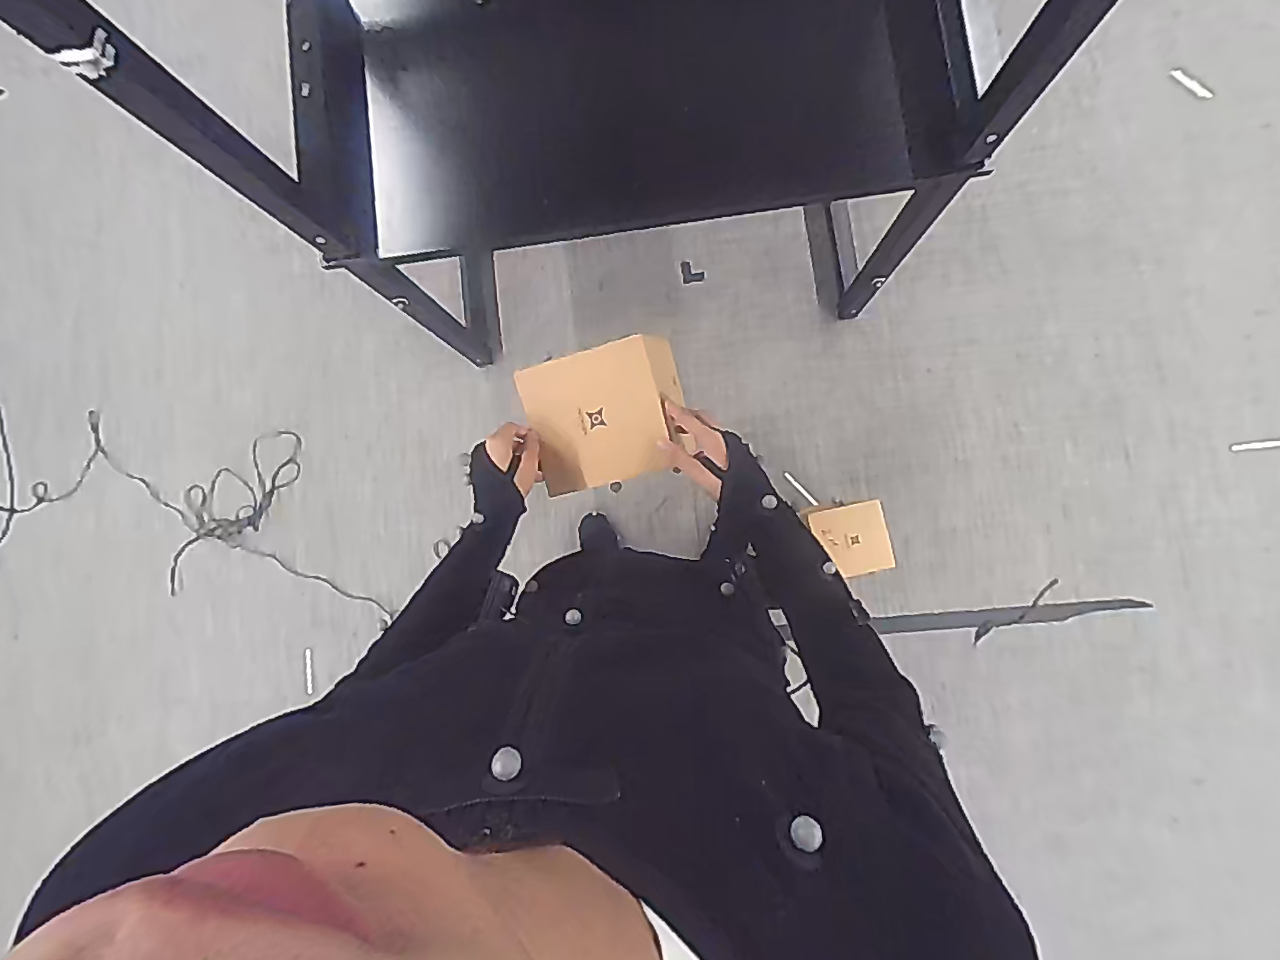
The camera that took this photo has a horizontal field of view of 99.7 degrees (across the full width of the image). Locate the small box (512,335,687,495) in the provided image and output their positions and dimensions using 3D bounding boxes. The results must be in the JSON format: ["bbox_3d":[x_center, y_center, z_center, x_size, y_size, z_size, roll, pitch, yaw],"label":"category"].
[{"bbox_3d":[-0.040,-0.092,0.733,0.179,0.176,0.168,-13,99,17],"label":"small box"}]

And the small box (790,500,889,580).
[{"bbox_3d":[0.495,0.145,1.362,0.179,0.176,0.168,-12,86,4],"label":"small box"}]
